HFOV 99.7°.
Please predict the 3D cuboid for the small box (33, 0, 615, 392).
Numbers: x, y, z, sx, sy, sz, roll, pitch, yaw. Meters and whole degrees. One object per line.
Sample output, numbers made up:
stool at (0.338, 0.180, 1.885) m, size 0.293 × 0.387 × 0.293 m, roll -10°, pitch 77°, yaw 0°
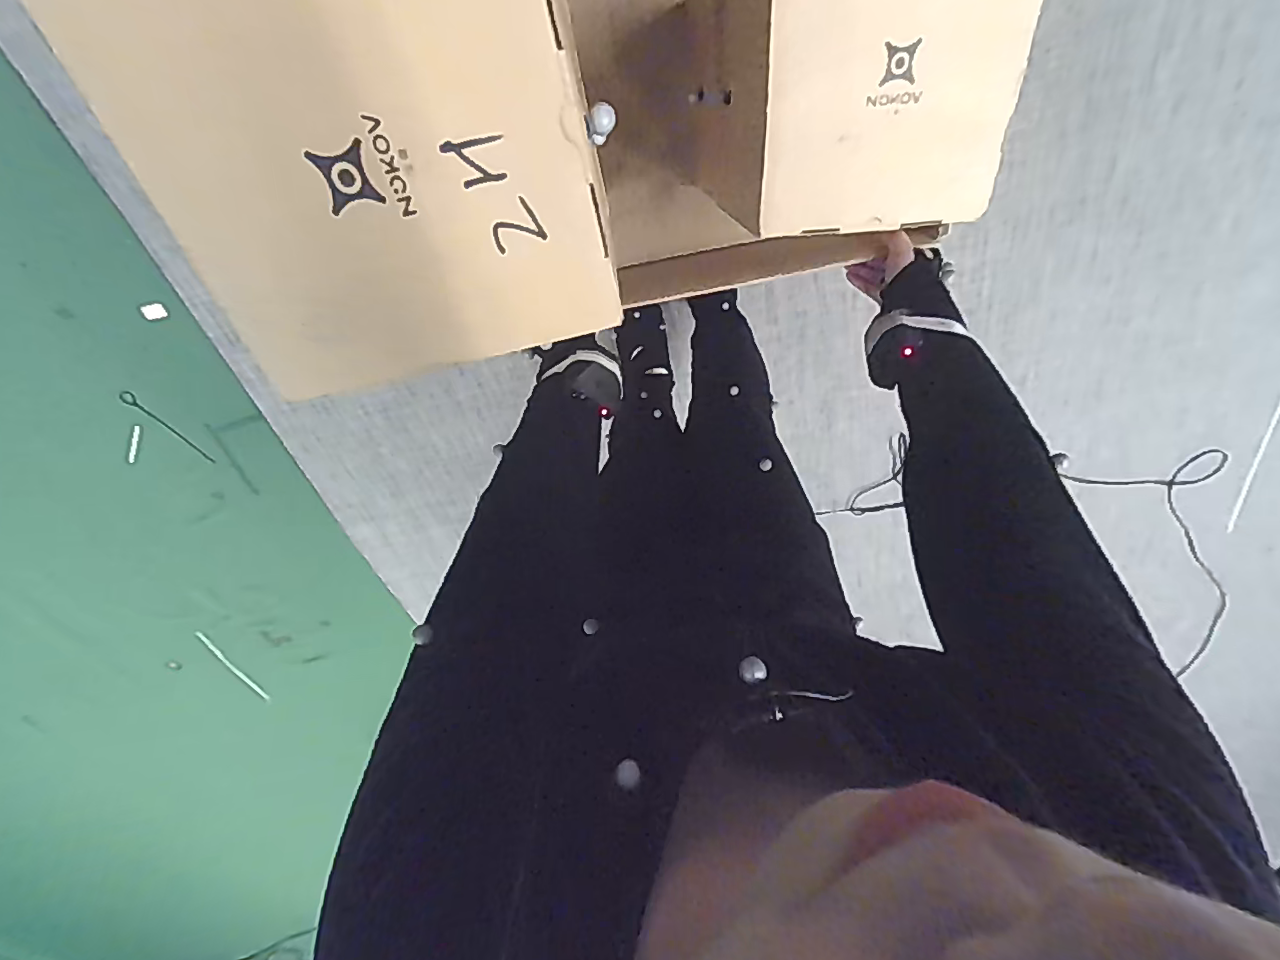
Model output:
small box at (-0.115, -0.169, 0.284) m, size 0.179 × 0.176 × 0.168 m, roll -12°, pitch 125°, yaw 2°
